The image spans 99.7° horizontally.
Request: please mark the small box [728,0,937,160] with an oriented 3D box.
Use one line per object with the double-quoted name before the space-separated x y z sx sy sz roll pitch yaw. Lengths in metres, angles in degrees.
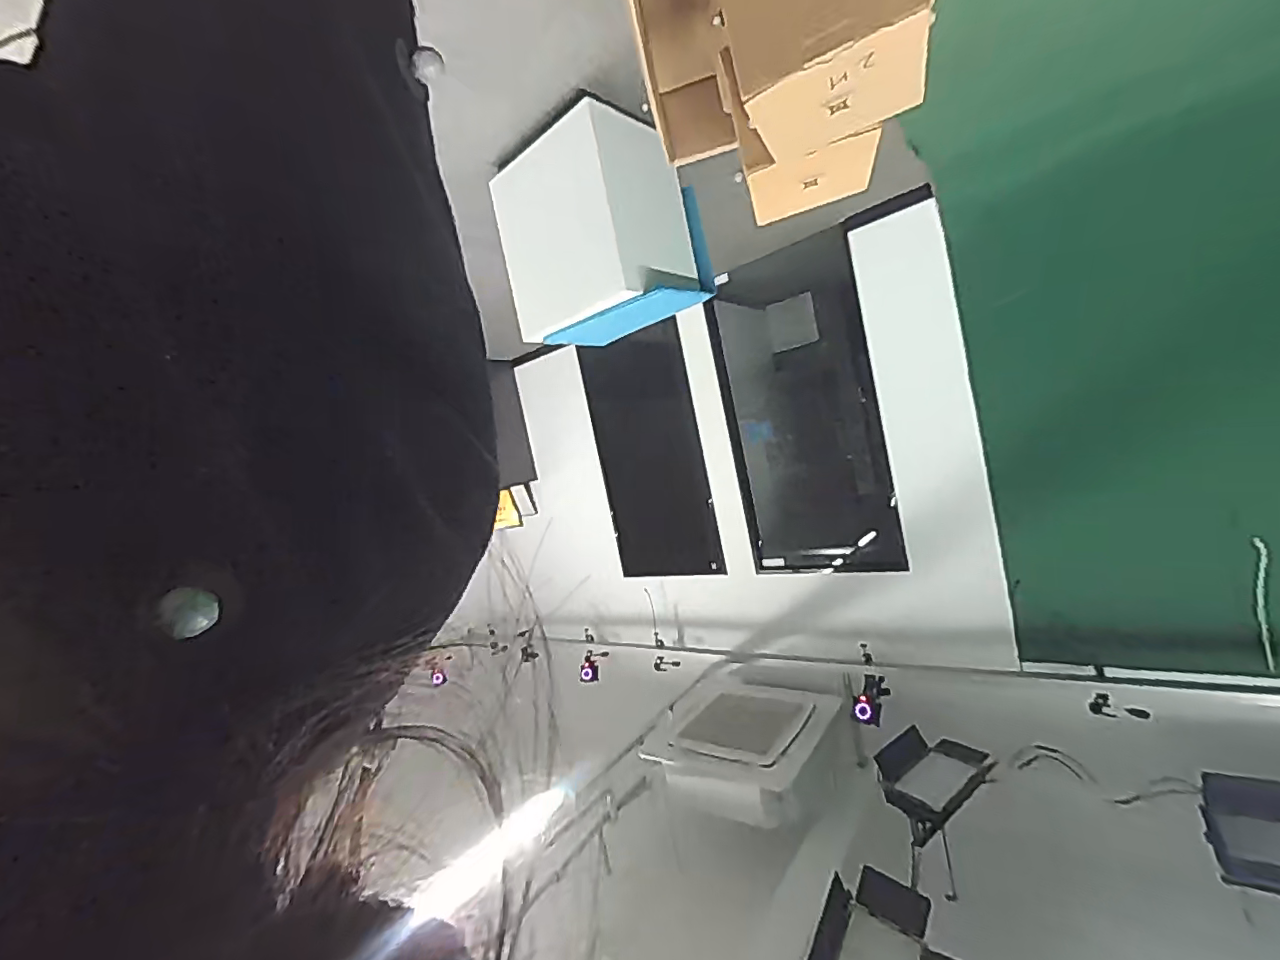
"small box" 0.191 -0.474 0.550 0.168 0.176 0.179 -11 -177 27
